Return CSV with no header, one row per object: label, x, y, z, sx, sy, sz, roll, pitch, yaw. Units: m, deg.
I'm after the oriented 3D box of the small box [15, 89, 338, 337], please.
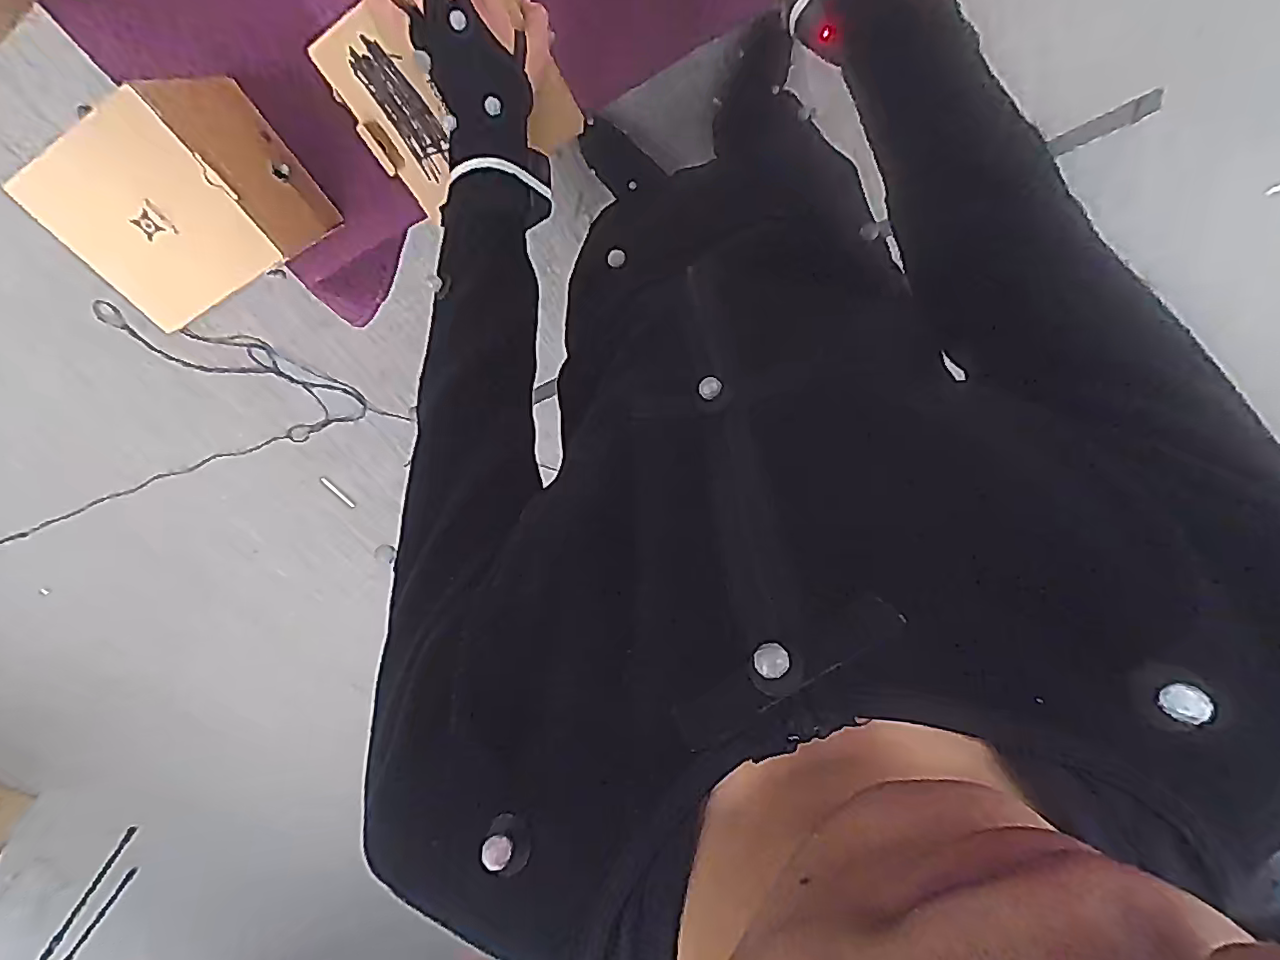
small box,-0.476,-0.291,0.591,0.179,0.176,0.168,-26,125,12
